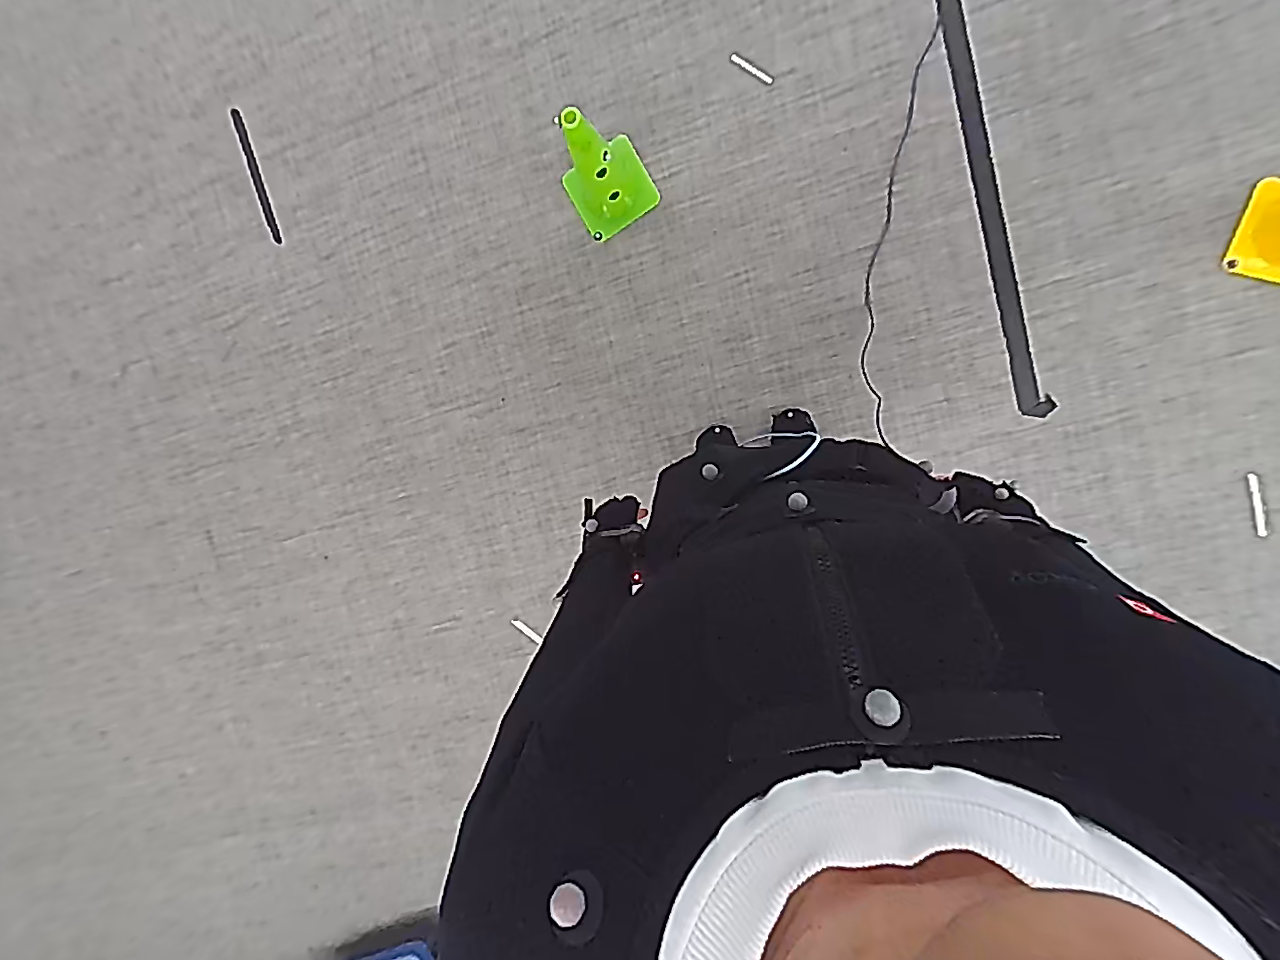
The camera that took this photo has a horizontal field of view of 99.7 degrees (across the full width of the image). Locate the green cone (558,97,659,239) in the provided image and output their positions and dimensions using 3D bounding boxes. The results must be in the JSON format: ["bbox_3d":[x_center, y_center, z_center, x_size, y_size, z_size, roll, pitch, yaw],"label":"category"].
[{"bbox_3d":[-0.105,-0.733,1.217,0.200,0.368,0.202,-30,90,11],"label":"green cone"}]
